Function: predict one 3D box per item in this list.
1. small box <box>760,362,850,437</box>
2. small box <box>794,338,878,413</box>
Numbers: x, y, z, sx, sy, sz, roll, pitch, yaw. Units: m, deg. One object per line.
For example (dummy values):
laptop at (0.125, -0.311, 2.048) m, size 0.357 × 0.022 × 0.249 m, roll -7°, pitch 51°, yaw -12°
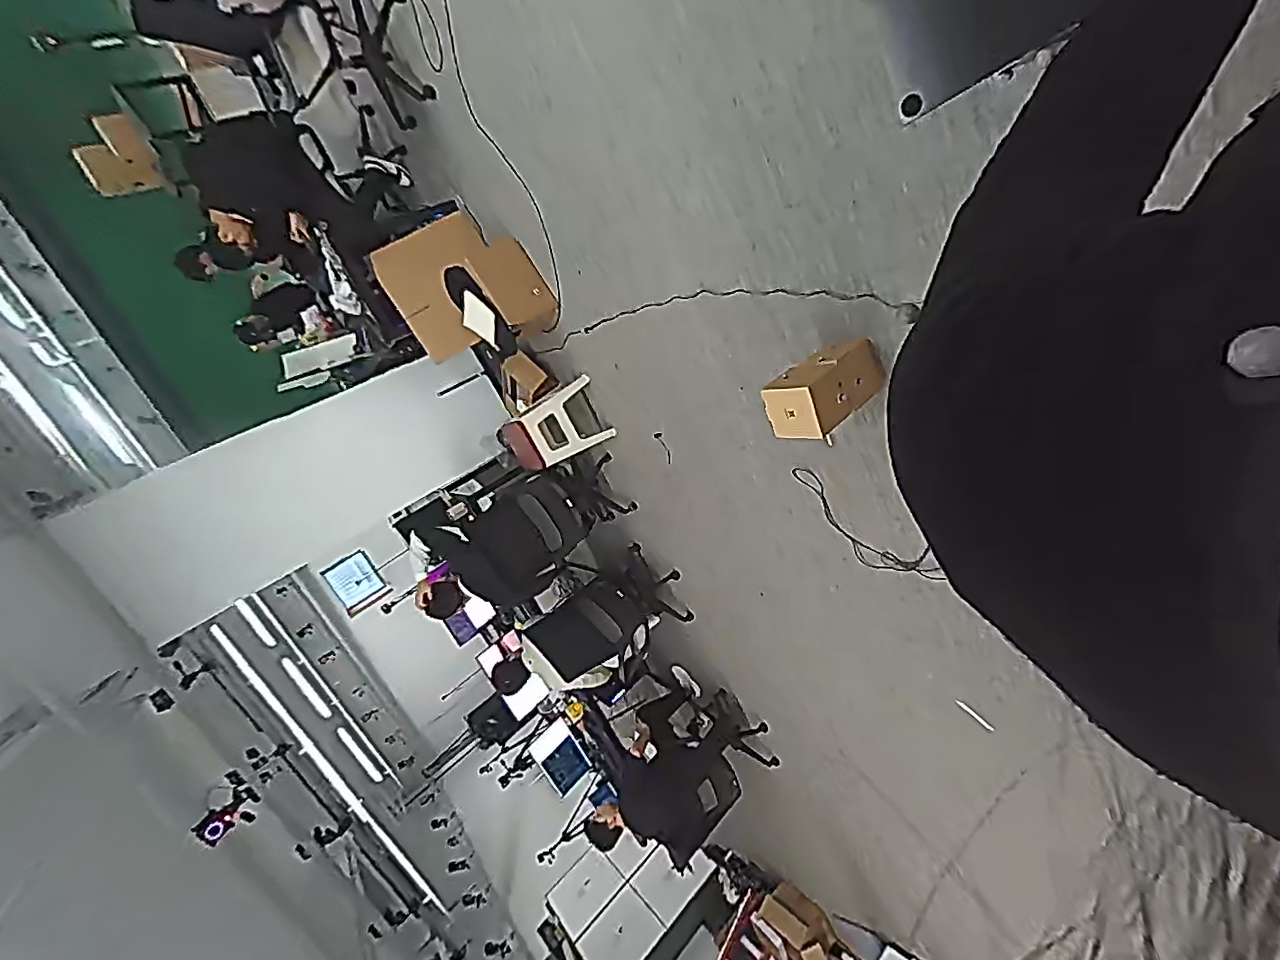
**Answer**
small box at (0.496, -0.241, 1.618) m, size 0.179 × 0.176 × 0.168 m, roll 6°, pitch 126°, yaw 53°
small box at (0.616, -0.320, 1.695) m, size 0.168 × 0.176 × 0.179 m, roll 1°, pitch 122°, yaw 56°
